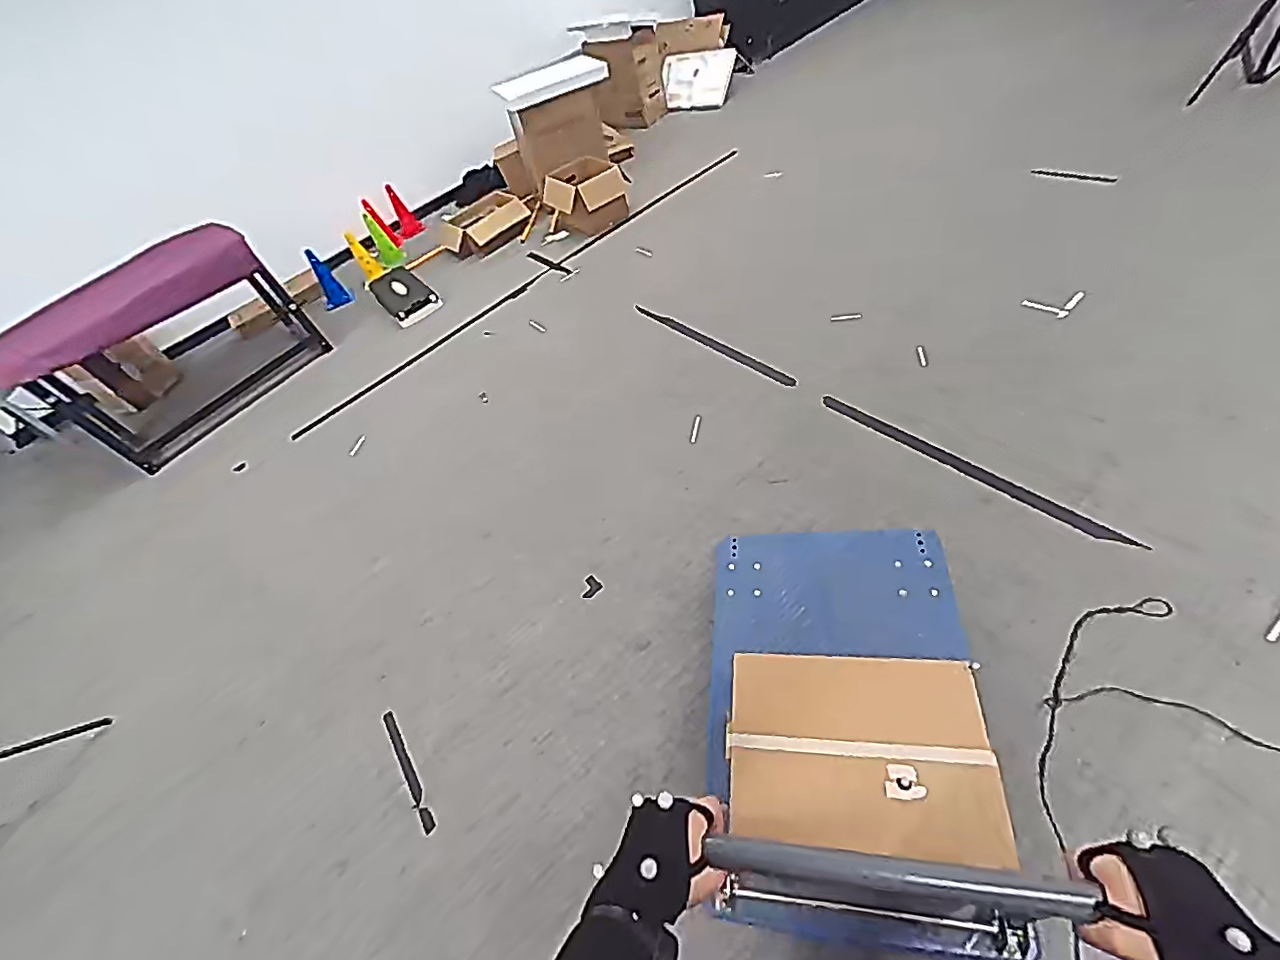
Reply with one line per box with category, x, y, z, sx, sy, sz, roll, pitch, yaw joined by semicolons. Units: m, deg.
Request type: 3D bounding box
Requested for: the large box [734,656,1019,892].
large box;0.388;0.540;1.002;0.408;0.320;0.320;-3;51;15
